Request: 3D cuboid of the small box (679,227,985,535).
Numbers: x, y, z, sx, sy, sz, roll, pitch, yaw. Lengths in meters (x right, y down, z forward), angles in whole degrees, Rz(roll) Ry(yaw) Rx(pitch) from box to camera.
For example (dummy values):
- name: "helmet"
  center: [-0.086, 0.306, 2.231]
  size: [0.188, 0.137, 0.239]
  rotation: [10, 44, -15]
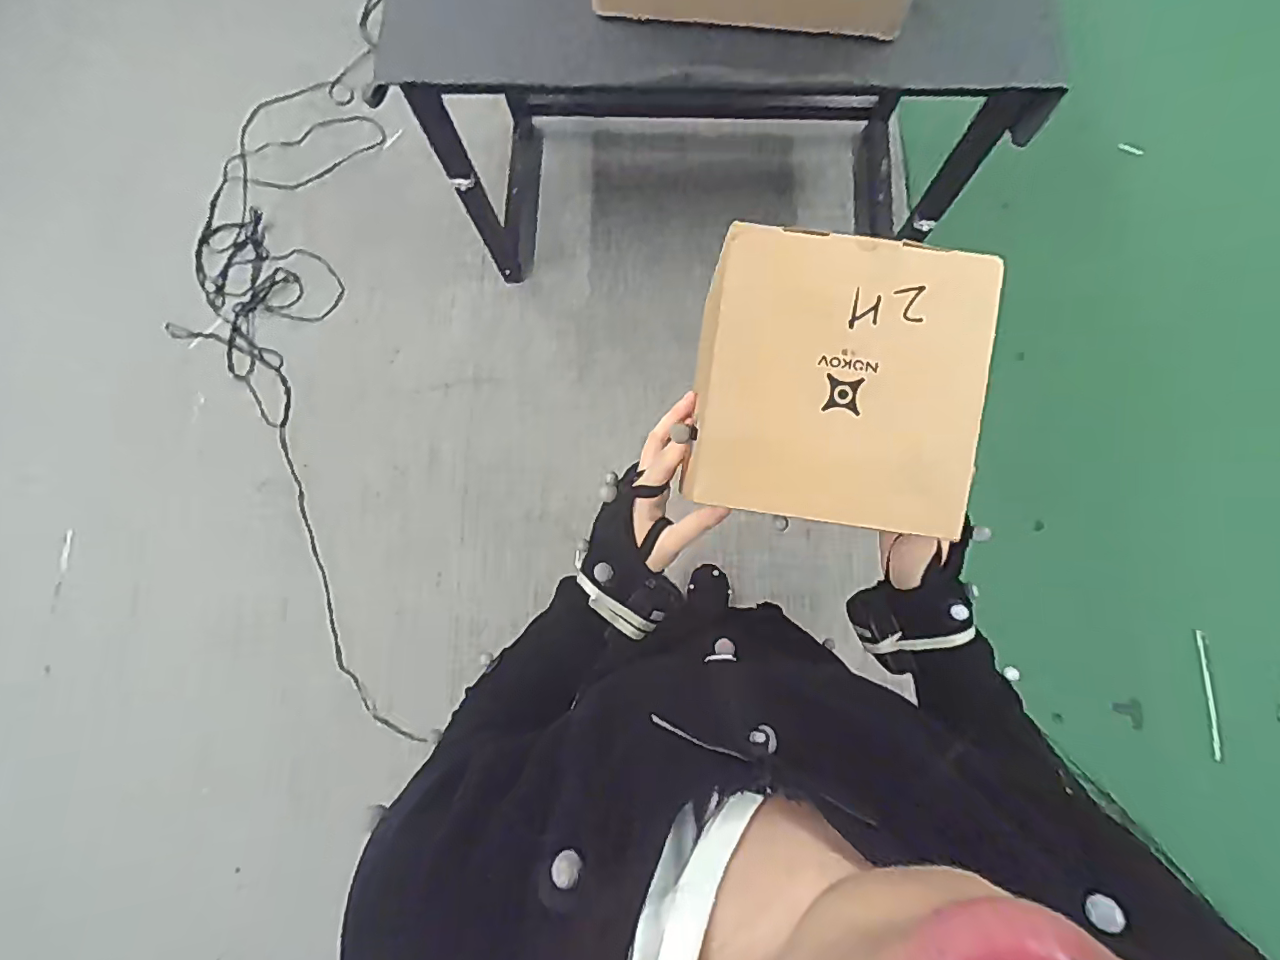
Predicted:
- name: "small box"
  center: [0.122, -0.063, 0.415]
  size: [0.168, 0.176, 0.179]
  rotation: [7, 91, 1]
